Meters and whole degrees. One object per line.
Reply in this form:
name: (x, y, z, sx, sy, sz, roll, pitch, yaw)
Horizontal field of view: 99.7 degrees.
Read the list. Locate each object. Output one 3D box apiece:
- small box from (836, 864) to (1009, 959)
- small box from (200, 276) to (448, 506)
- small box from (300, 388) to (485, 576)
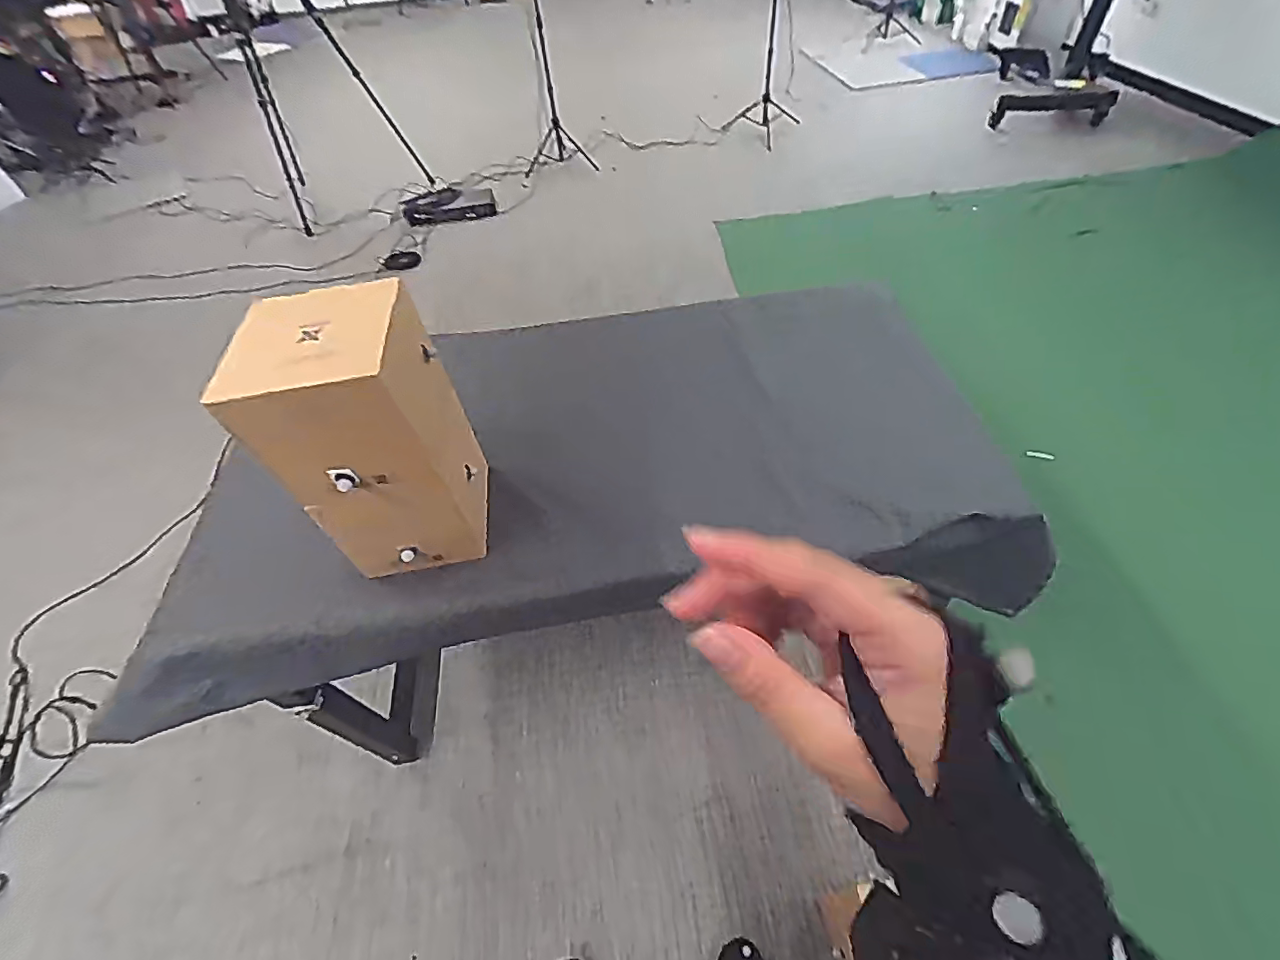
small box: (0.425, 0.704, 0.825, 0.179, 0.176, 0.168, -10, 51, -3)
small box: (-0.327, -0.097, 0.605, 0.168, 0.176, 0.179, -11, 52, -2)
small box: (-0.315, 0.004, 0.731, 0.168, 0.176, 0.179, -10, 51, -3)
